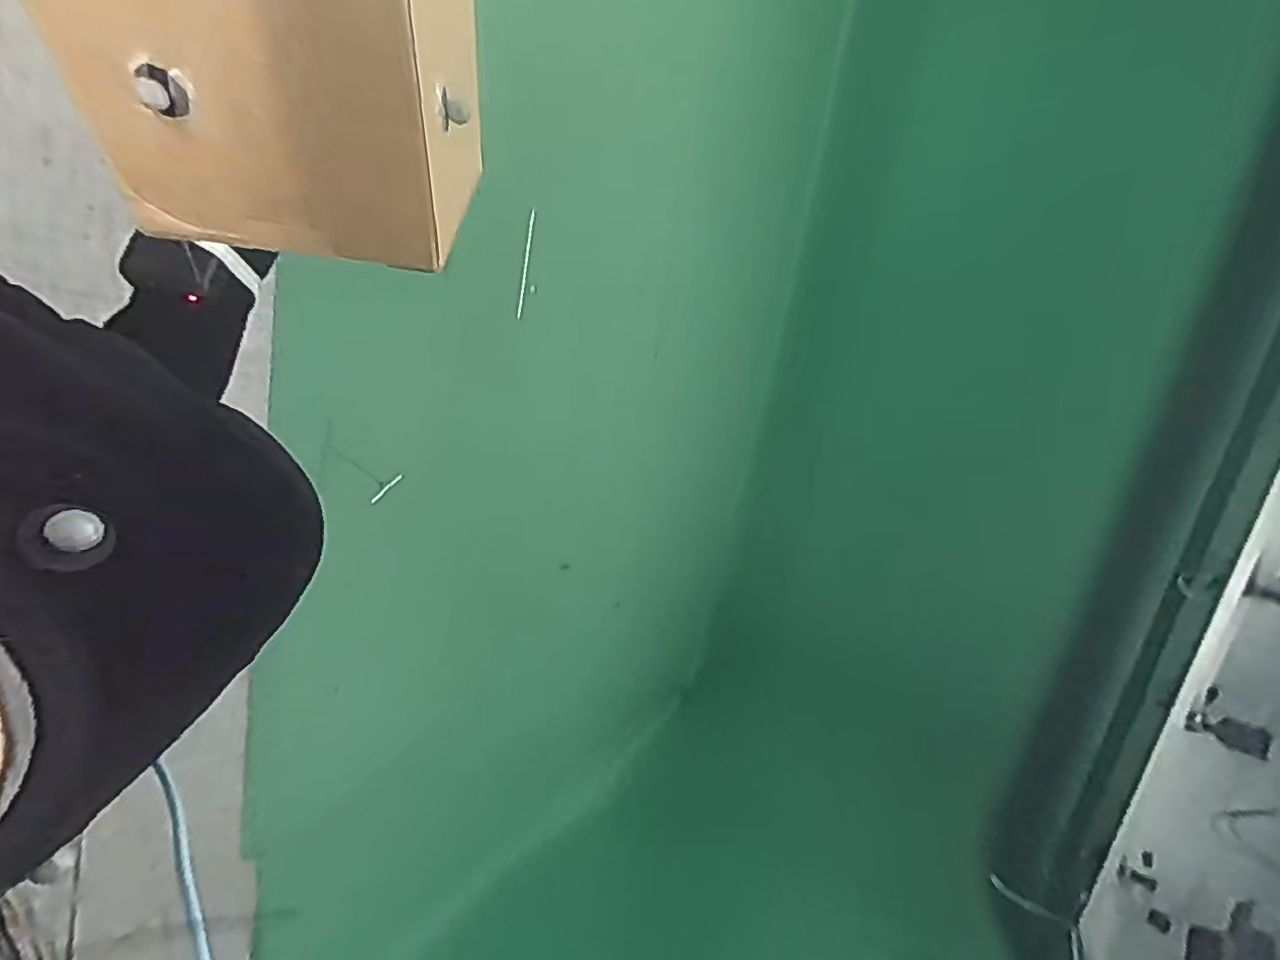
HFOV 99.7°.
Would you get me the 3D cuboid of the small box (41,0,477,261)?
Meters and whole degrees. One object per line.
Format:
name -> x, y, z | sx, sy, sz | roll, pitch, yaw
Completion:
small box -> -0.195, -0.255, 0.312 | 0.176, 0.168, 0.179 | 104, -14, -48
